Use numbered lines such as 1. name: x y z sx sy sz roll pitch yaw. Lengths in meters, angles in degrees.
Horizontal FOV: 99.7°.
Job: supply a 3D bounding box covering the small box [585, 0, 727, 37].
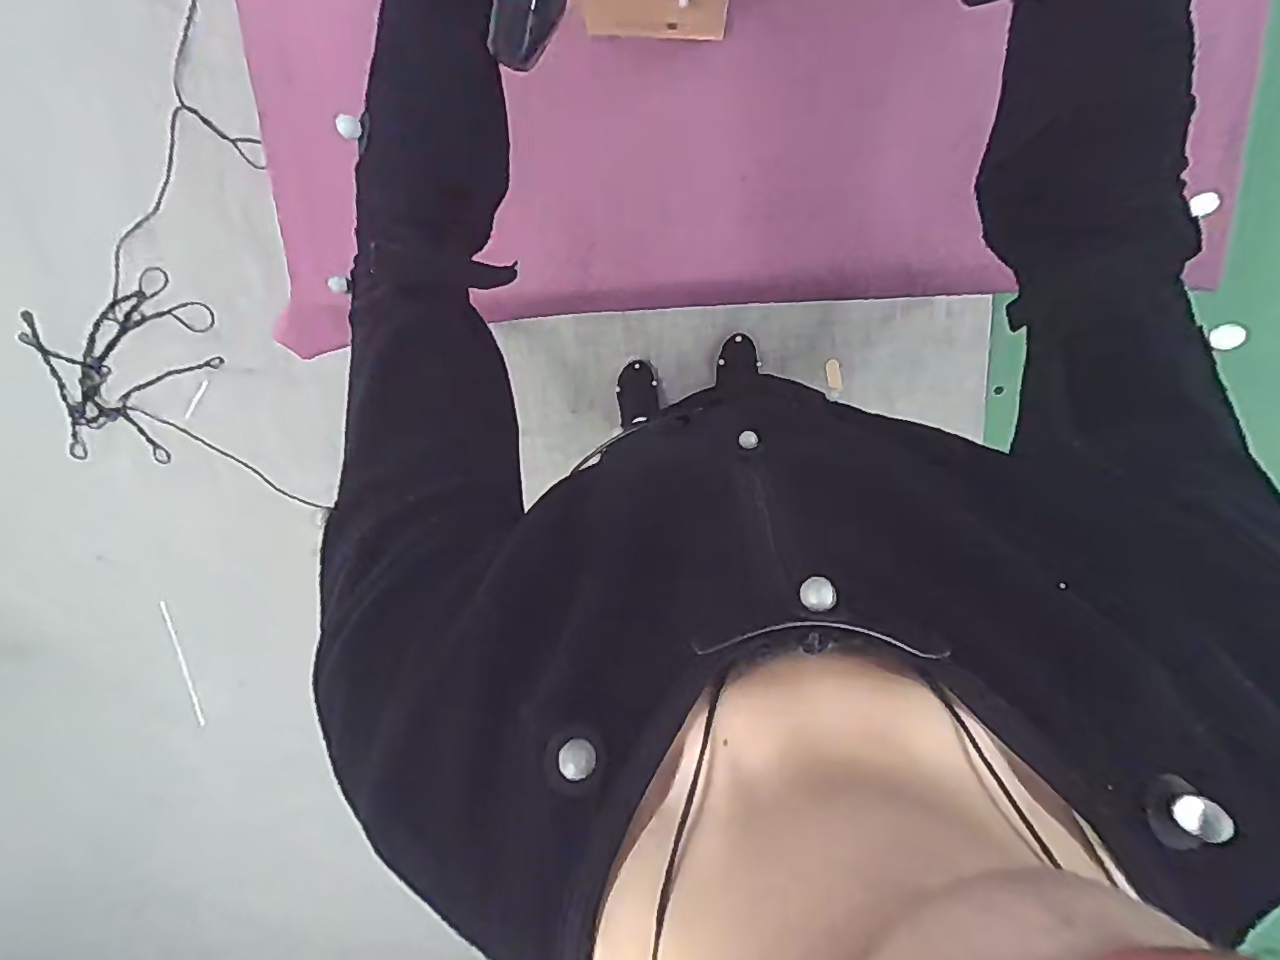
1. small box: 0.021 -0.601 0.555 0.168 0.176 0.179 7 103 2
